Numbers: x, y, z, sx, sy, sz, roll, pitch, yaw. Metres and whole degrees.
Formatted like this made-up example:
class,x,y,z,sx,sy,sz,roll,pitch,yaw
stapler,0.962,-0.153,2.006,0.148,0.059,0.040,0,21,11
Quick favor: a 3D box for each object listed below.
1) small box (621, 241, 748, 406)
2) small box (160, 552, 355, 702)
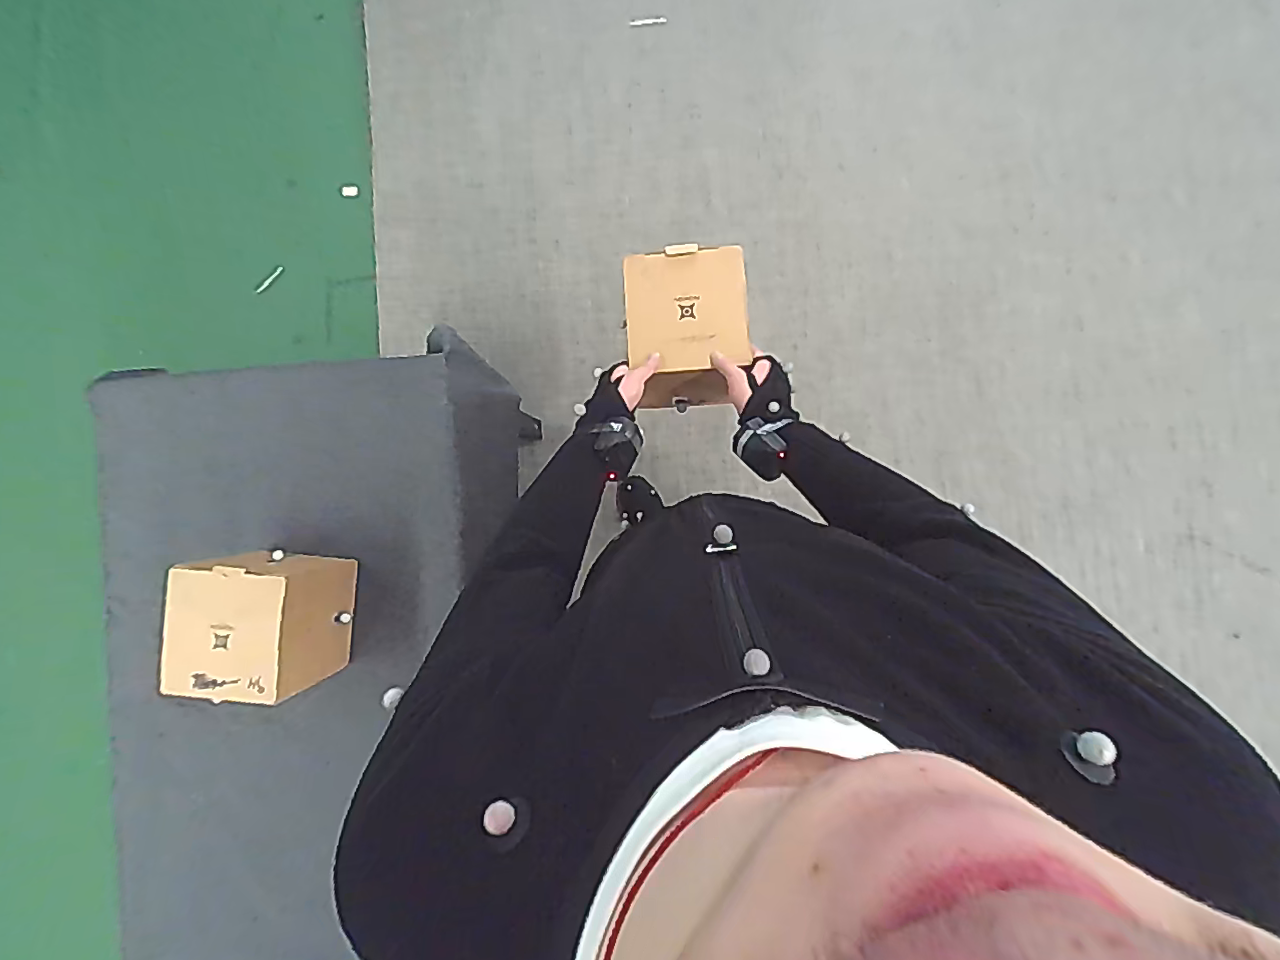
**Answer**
class,x,y,z,sx,sy,sz,roll,pitch,yaw
small box,0.062,-0.218,0.787,0.168,0.176,0.179,-2,80,5
small box,-0.554,0.206,0.806,0.168,0.176,0.179,5,88,3
